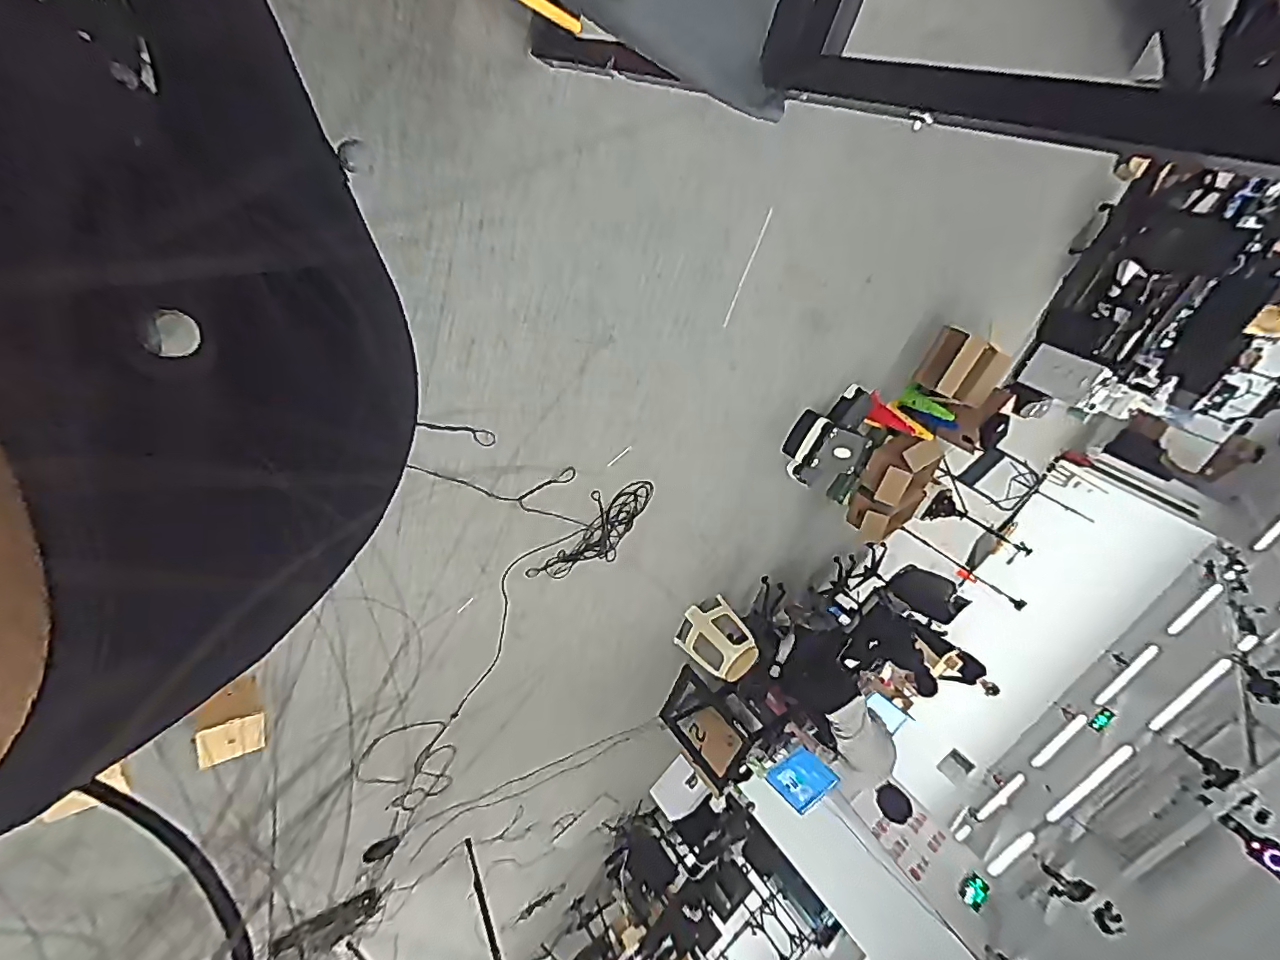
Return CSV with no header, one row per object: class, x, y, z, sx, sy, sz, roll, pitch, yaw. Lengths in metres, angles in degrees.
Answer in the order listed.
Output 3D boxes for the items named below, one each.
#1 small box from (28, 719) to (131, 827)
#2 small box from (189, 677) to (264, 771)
small box,-1.522,0.783,1.473,0.168,0.176,0.179,-12,131,-39
small box,-1.289,0.756,1.688,0.168,0.176,0.179,-9,127,-42
